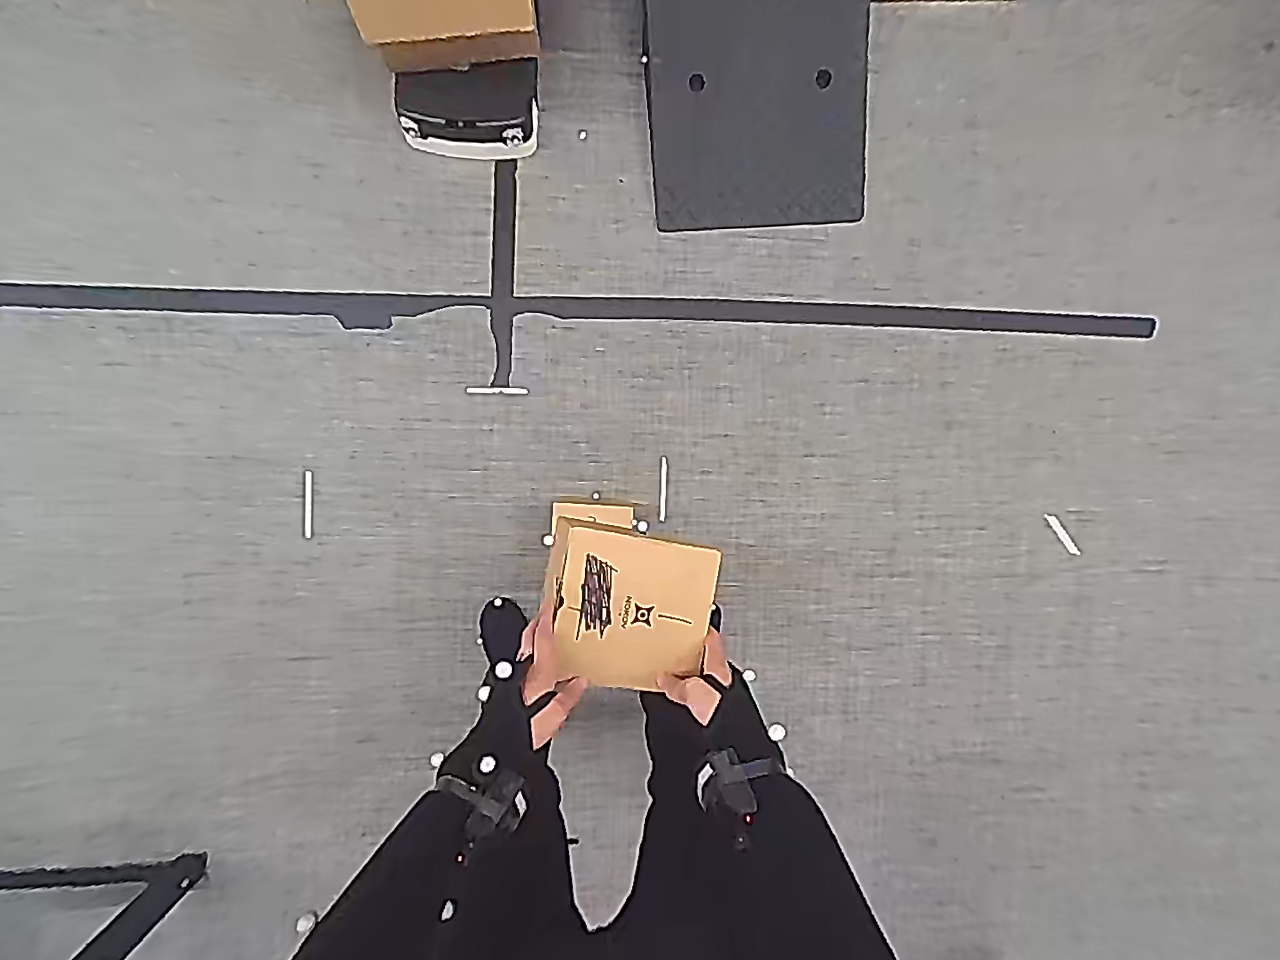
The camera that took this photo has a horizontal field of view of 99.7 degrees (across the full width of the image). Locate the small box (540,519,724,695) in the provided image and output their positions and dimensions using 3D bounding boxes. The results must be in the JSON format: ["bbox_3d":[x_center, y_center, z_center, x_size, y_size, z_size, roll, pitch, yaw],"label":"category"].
[{"bbox_3d":[-0.021,0.143,0.660,0.179,0.176,0.168,11,87,-13],"label":"small box"}]
